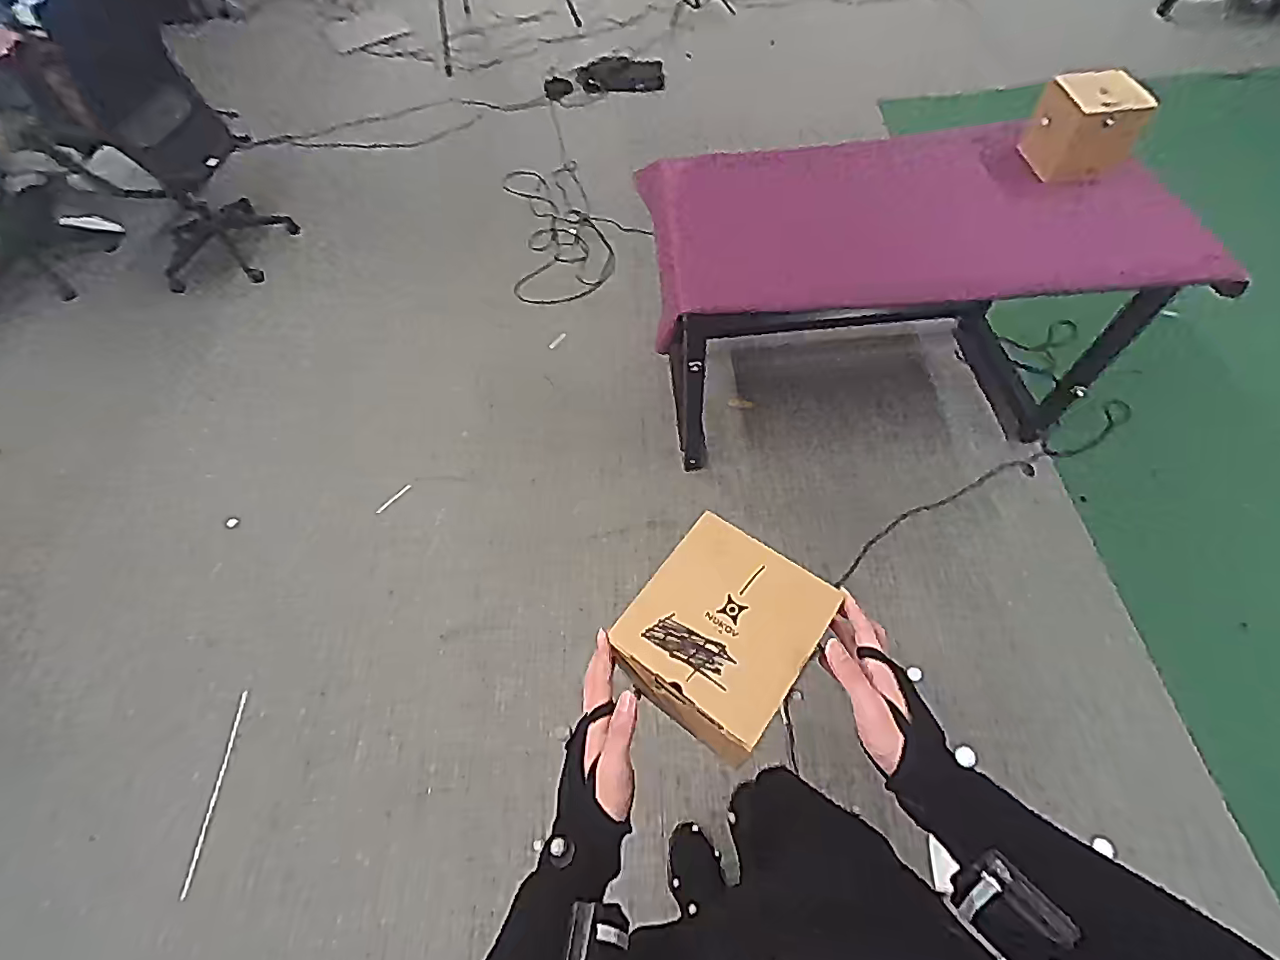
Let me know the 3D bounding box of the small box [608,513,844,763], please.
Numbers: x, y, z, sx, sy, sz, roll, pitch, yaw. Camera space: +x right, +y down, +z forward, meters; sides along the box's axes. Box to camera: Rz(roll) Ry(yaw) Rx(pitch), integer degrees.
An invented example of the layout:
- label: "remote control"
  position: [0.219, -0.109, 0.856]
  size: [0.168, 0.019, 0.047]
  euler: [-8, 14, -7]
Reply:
- label: "small box"
  position: [0.090, 0.176, 0.588]
  size: [0.168, 0.176, 0.179]
  euler: [32, 64, 23]

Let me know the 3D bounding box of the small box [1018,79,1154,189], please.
- label: "small box"
  position: [1.084, -0.853, 1.337]
  size: [0.168, 0.176, 0.179]
  euler: [-5, 58, 3]
